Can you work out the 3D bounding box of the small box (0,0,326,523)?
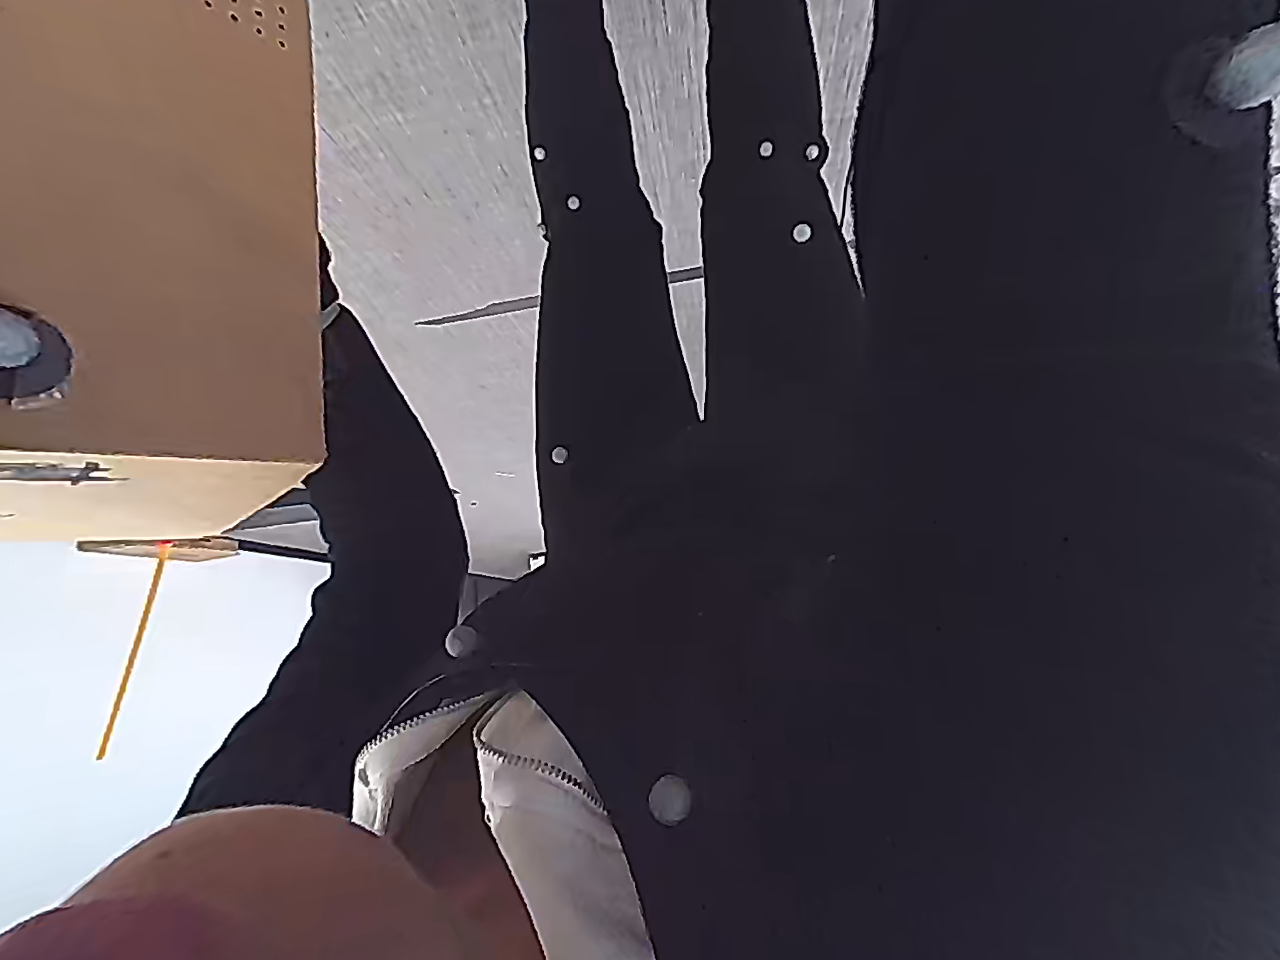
[{"bbox_3d":[-0.220,-0.078,0.175,0.179,0.176,0.168,-14,169,41],"label":"small box"}]
